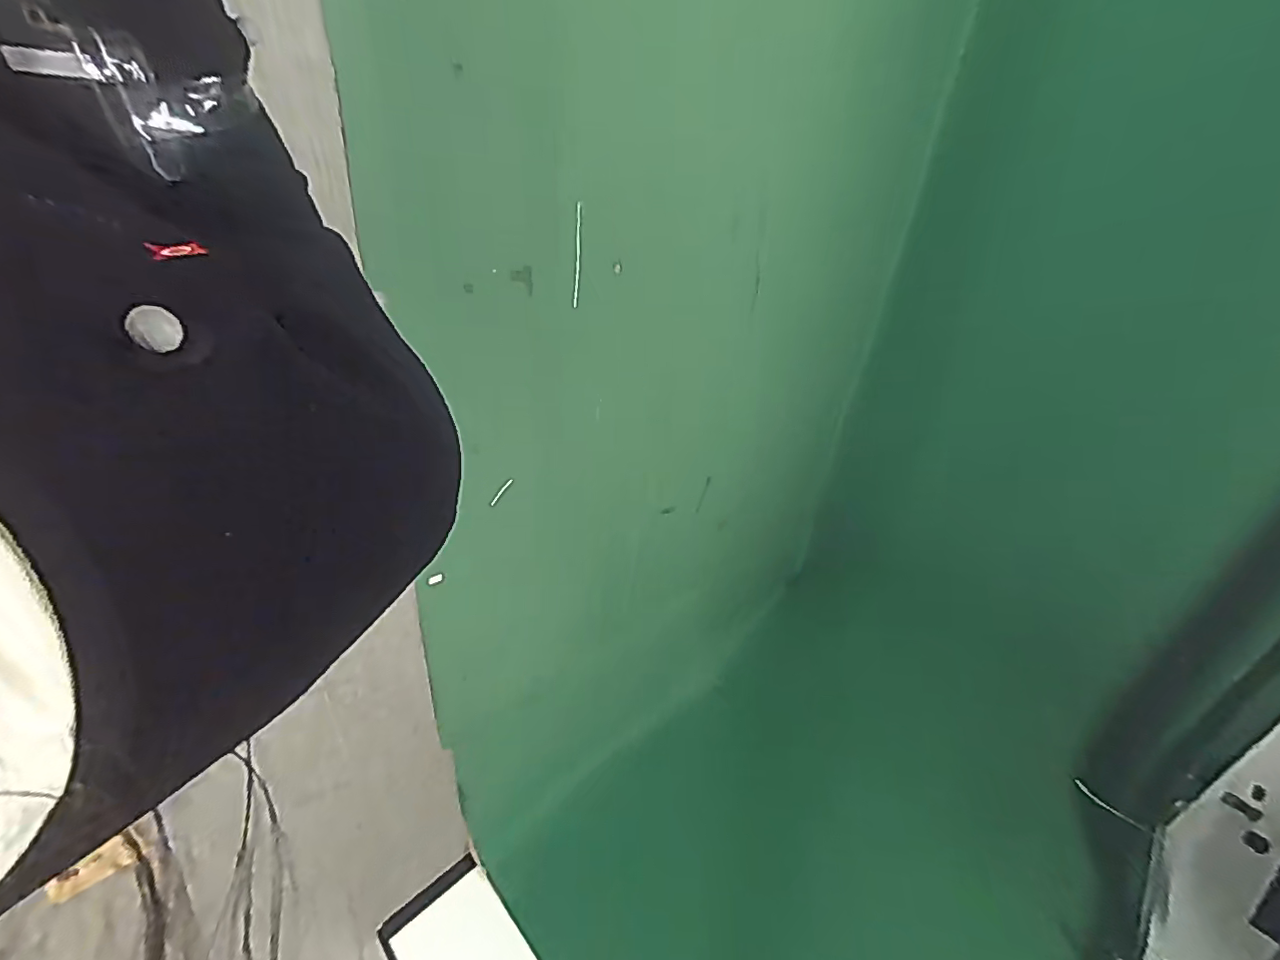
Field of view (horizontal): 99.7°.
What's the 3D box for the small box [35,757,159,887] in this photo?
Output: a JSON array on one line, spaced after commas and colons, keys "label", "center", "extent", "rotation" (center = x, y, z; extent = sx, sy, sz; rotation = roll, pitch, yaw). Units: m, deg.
[{"label": "small box", "center": [-1.351, 0.845, 1.350], "extent": [0.179, 0.176, 0.168], "rotation": [-24, 131, -38]}]
